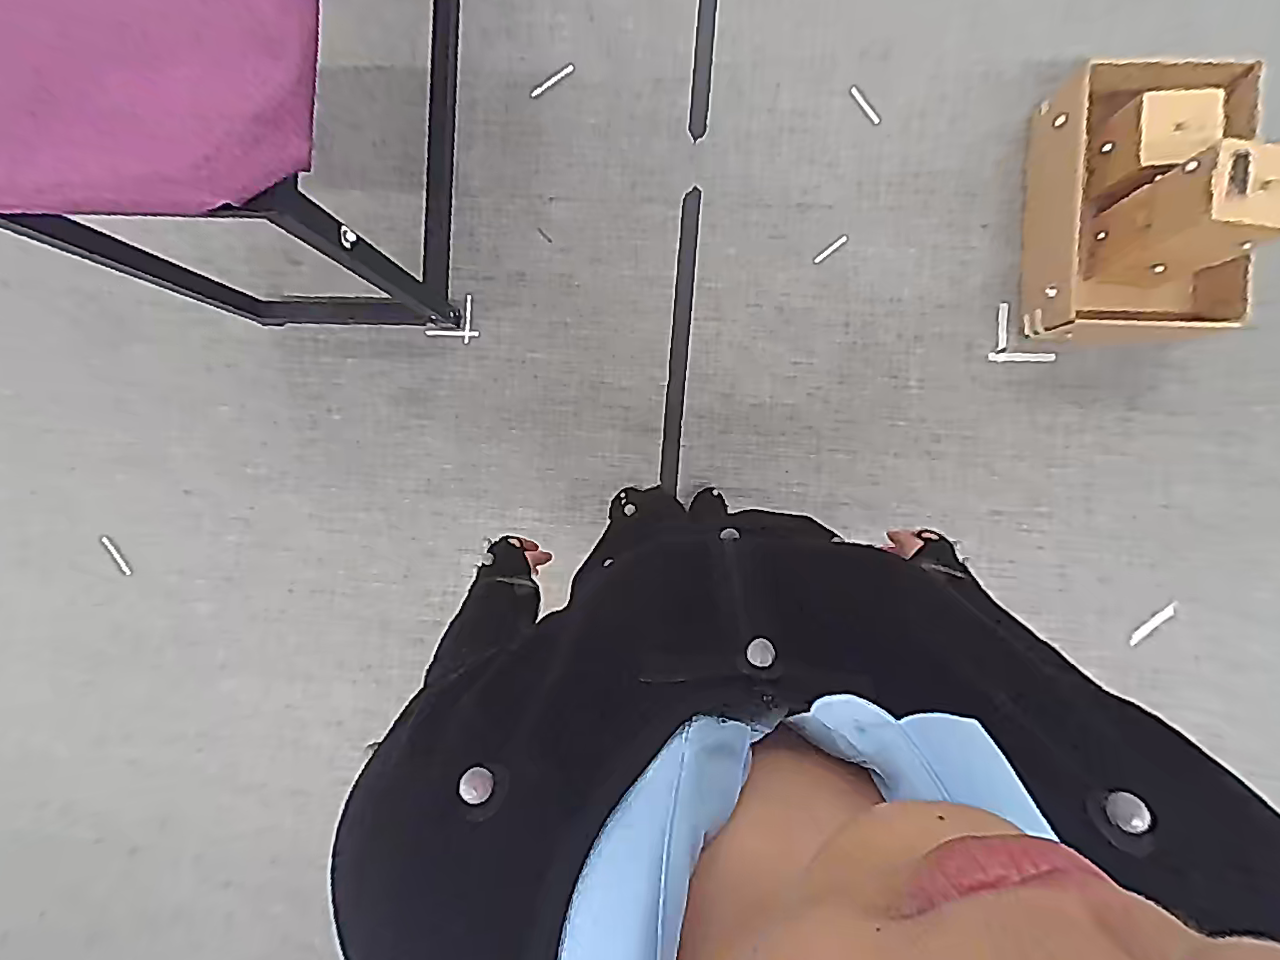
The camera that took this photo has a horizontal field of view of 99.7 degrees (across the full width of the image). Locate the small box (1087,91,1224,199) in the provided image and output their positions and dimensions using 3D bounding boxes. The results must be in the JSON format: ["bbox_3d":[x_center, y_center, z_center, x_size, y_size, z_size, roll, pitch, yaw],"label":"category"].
[{"bbox_3d":[1.226,-0.796,1.299,0.179,0.176,0.168,1,93,4],"label":"small box"}]

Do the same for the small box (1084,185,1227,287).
[{"bbox_3d":[1.235,-0.580,1.307,0.179,0.176,0.168,7,89,4],"label":"small box"}]
